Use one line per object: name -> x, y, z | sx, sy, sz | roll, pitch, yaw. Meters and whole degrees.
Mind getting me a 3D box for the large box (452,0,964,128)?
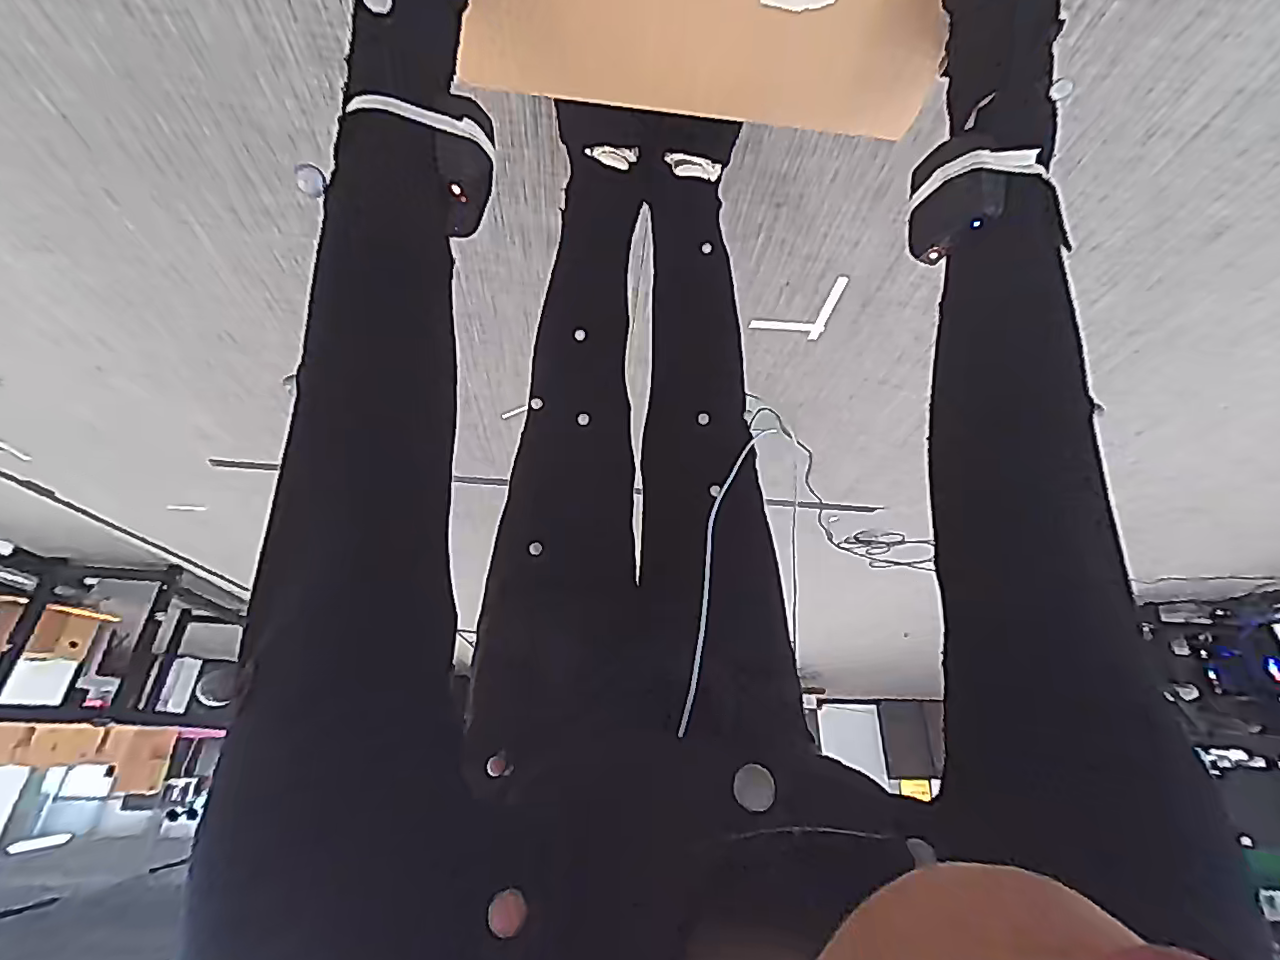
large box -> 0.059, -0.537, 0.418 | 0.408, 0.320, 0.320 | 3, 155, -5
